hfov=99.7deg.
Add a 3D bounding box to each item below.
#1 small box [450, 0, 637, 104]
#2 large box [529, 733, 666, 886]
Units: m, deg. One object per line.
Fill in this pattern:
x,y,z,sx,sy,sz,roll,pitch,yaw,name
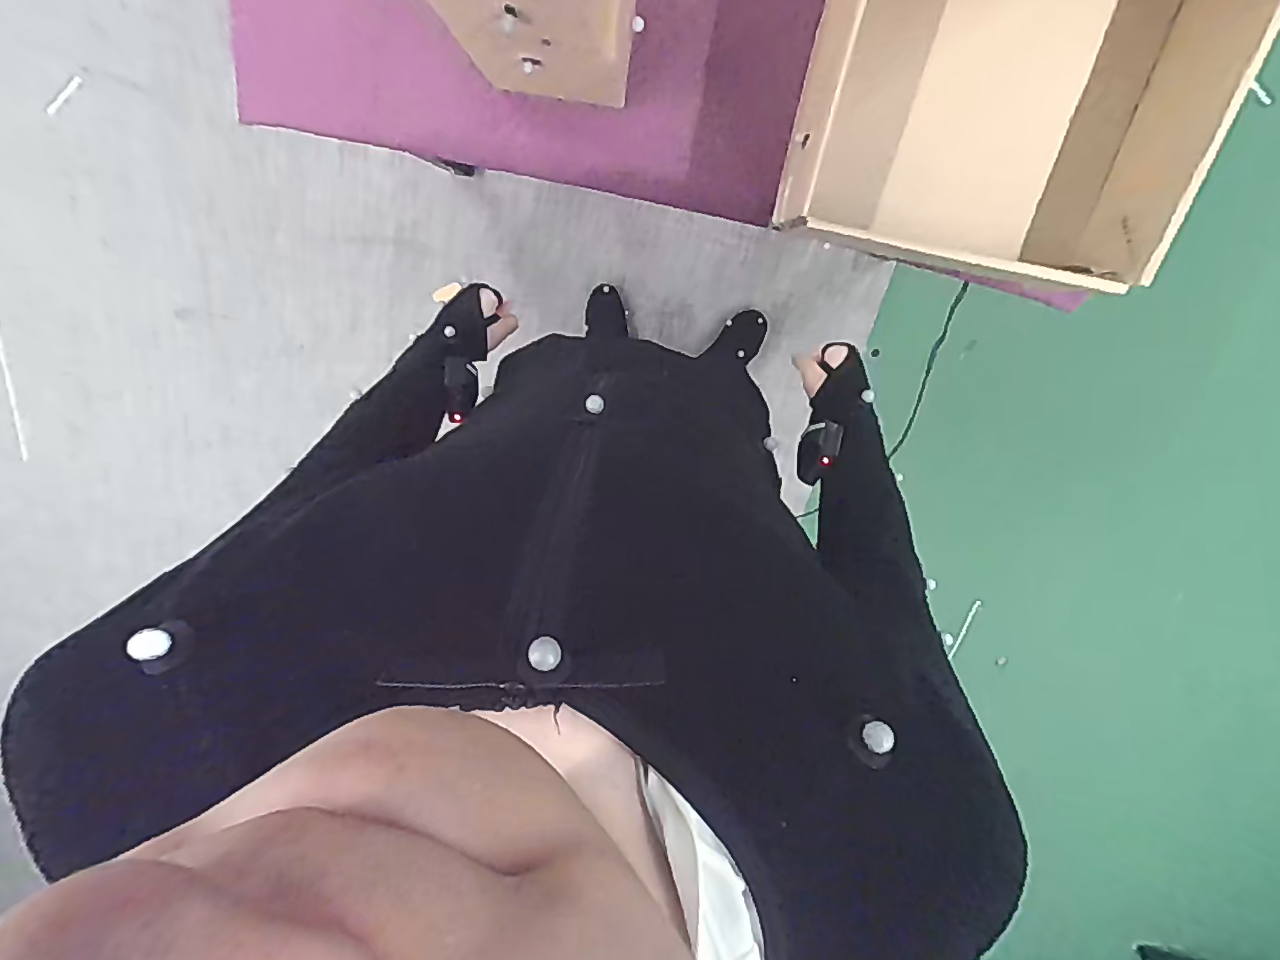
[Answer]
-0.099,-0.559,0.618,0.179,0.176,0.168,9,110,-1,small box
-0.141,1.205,1.998,0.408,0.320,0.320,-18,109,8,large box
